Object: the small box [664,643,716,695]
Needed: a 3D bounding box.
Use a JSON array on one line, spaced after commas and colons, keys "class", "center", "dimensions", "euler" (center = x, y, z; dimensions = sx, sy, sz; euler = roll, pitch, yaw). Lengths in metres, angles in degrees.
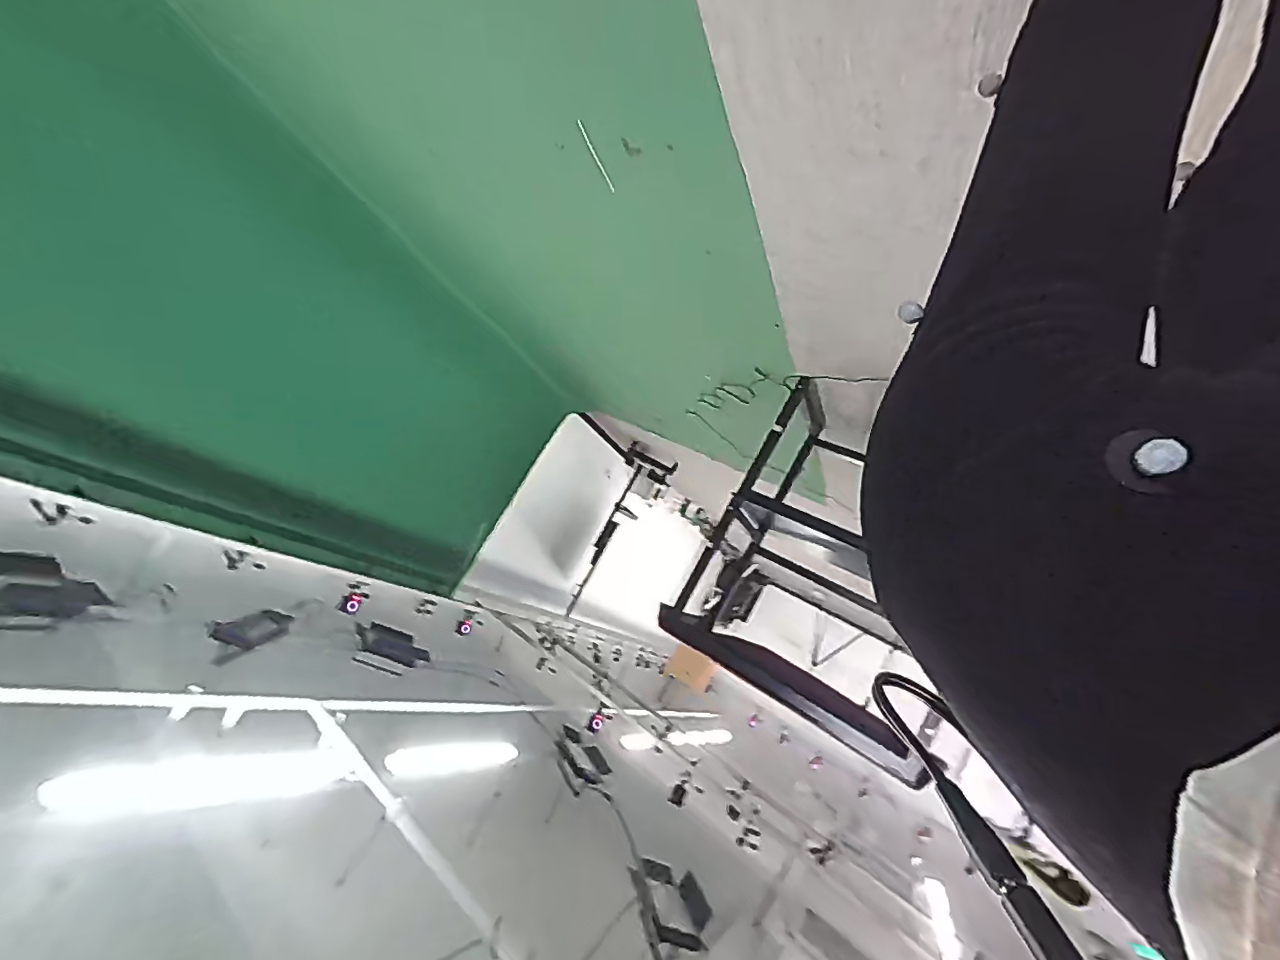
[{"class": "small box", "center": [0.245, 0.889, 2.547], "dimensions": [0.179, 0.176, 0.168], "euler": [25, 169, 28]}]
